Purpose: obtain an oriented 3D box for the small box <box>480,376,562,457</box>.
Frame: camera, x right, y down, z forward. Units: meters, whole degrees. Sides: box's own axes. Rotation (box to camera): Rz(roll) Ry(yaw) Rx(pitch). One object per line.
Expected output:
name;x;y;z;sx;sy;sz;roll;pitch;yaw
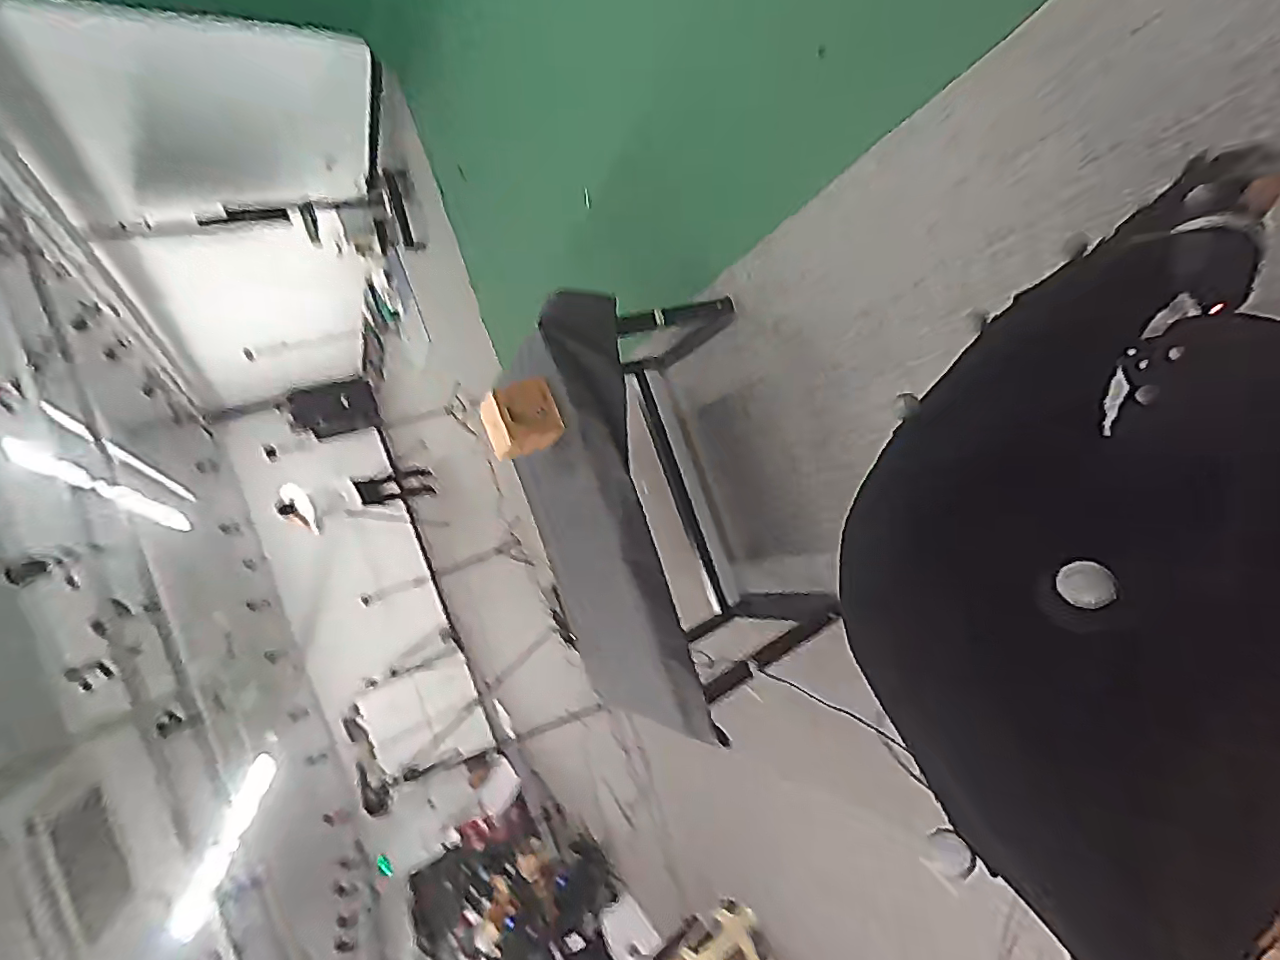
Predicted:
small box;-0.346;-0.185;1.579;0.179;0.176;0.168;-30;81;60
